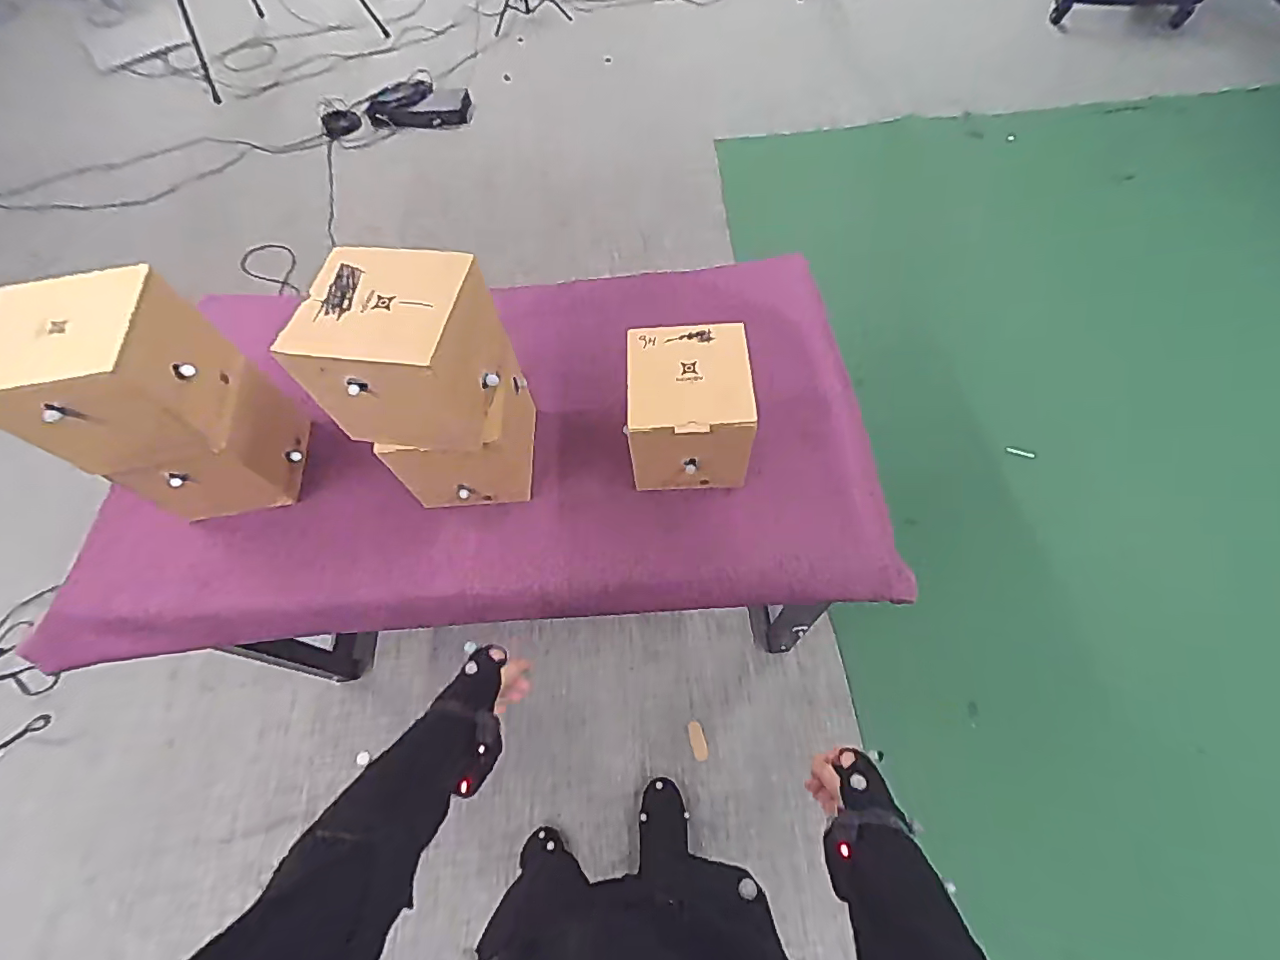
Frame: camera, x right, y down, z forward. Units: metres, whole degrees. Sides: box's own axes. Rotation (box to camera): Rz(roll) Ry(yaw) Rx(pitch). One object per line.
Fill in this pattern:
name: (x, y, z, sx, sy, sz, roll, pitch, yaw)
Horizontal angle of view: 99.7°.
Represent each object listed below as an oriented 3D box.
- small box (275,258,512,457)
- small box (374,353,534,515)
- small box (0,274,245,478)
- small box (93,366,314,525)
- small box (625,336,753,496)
small box: (-0.276, -0.142, 0.654, 0.179, 0.176, 0.168, 6, 61, 7)
small box: (-0.257, -0.064, 0.797, 0.168, 0.176, 0.179, -3, 61, 2)
small box: (-0.637, -0.120, 0.668, 0.179, 0.176, 0.168, -11, 62, -2)
small box: (-0.634, -0.044, 0.811, 0.179, 0.176, 0.168, -8, 61, -2)
small box: (0.069, -0.084, 0.788, 0.168, 0.176, 0.179, -2, 61, 3)
